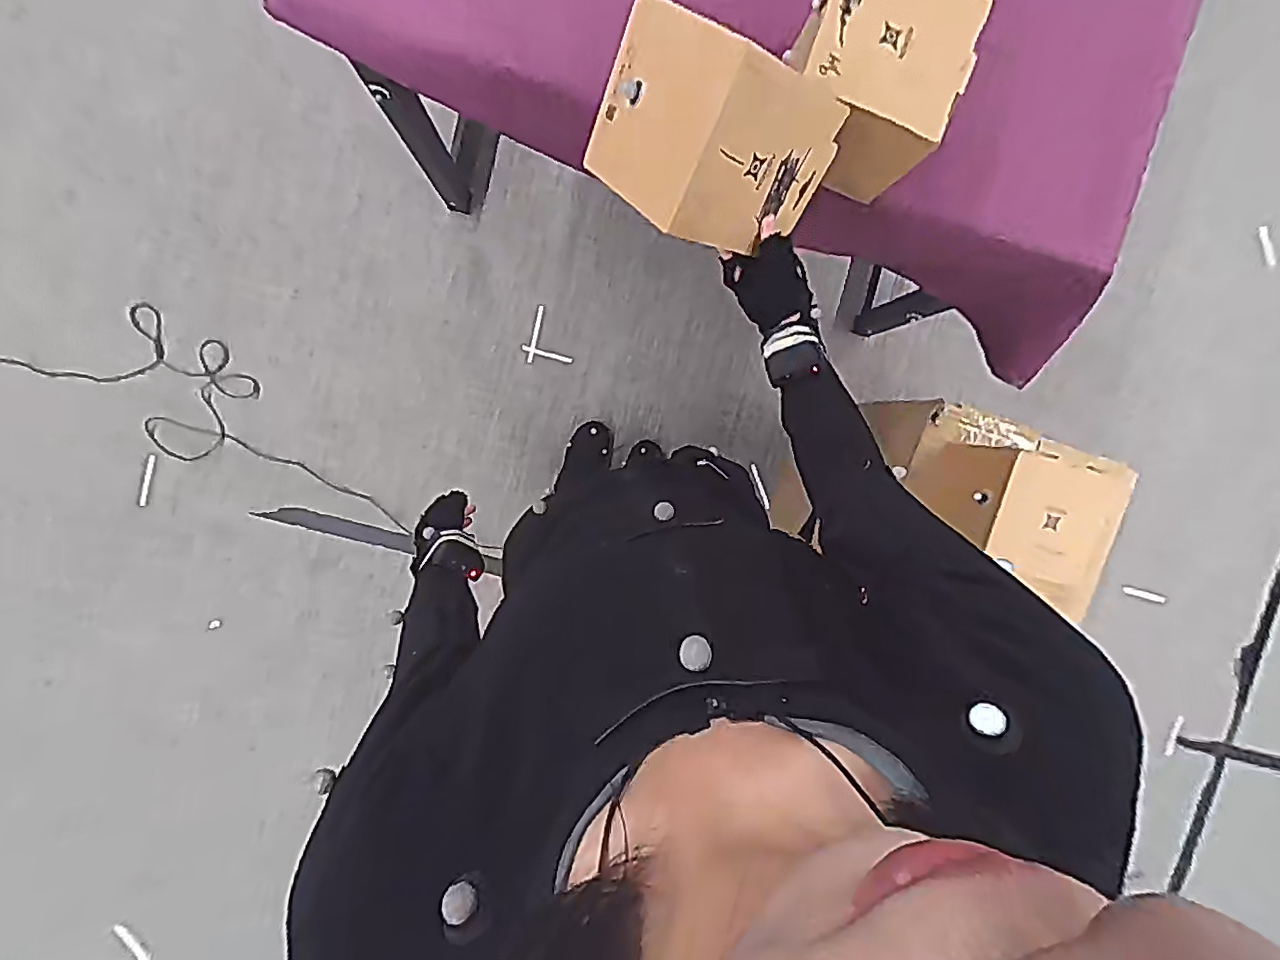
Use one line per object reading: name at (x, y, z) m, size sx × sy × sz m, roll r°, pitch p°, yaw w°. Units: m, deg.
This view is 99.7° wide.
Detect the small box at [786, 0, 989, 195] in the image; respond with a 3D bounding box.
small box at (0.274, -0.489, 0.674) m, size 0.179 × 0.176 × 0.168 m, roll 19°, pitch 93°, yaw -7°

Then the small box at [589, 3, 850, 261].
small box at (0.077, -0.363, 0.580) m, size 0.176 × 0.179 × 0.168 m, roll 51°, pitch 130°, yaw 29°

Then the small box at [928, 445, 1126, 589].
small box at (0.591, 0.047, 0.851) m, size 0.168 × 0.176 × 0.179 m, roll 15°, pitch 95°, yaw -3°
